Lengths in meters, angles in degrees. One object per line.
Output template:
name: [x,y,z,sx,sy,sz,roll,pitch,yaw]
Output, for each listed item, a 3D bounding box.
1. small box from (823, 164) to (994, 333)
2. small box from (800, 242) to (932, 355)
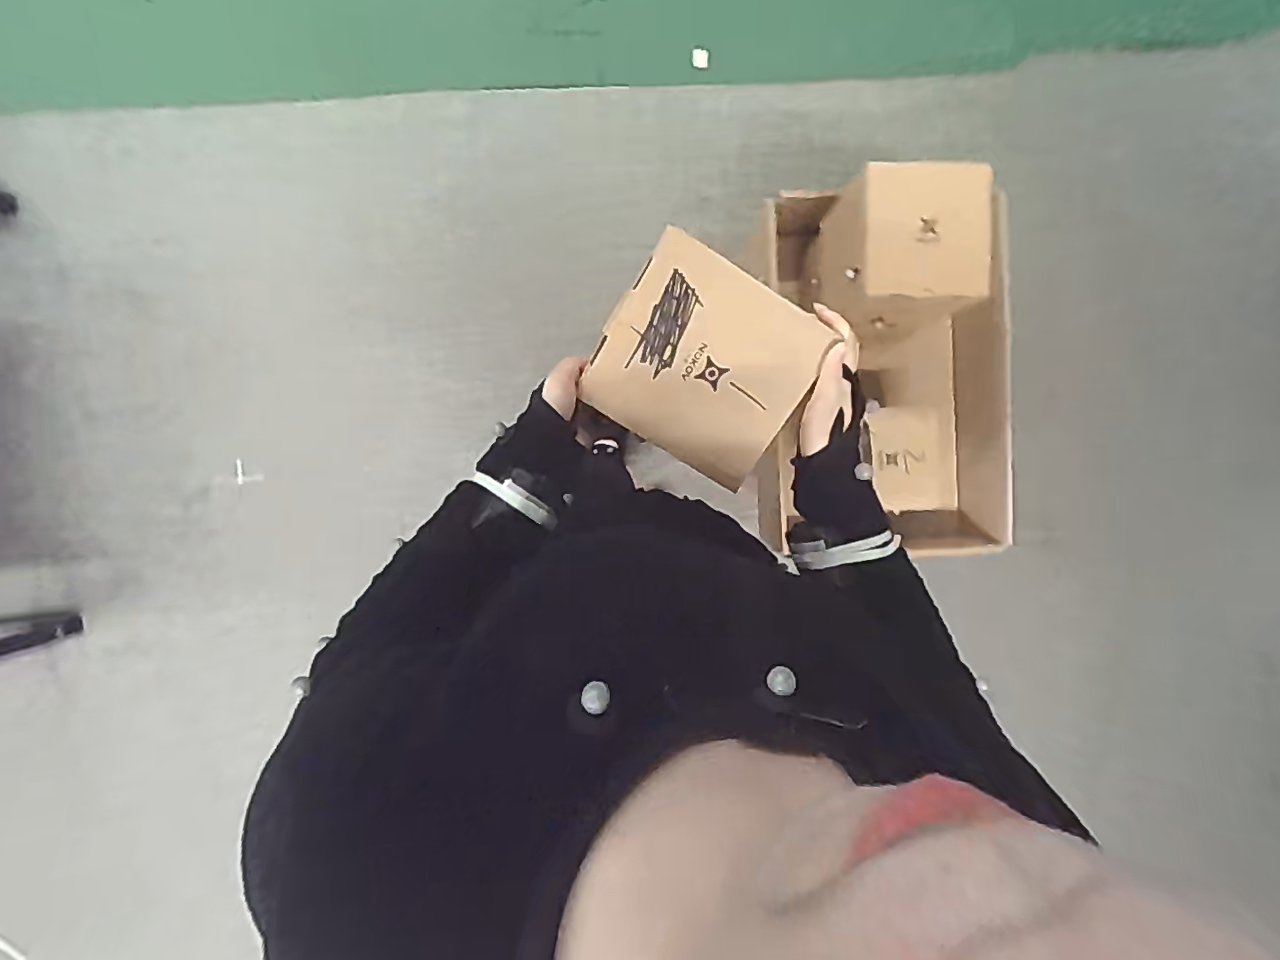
small box: [0.376,-0.324,0.784,0.168,0.176,0.179,0,92,-1]
small box: [0.387,-0.324,0.947,0.168,0.176,0.179,0,92,-1]
